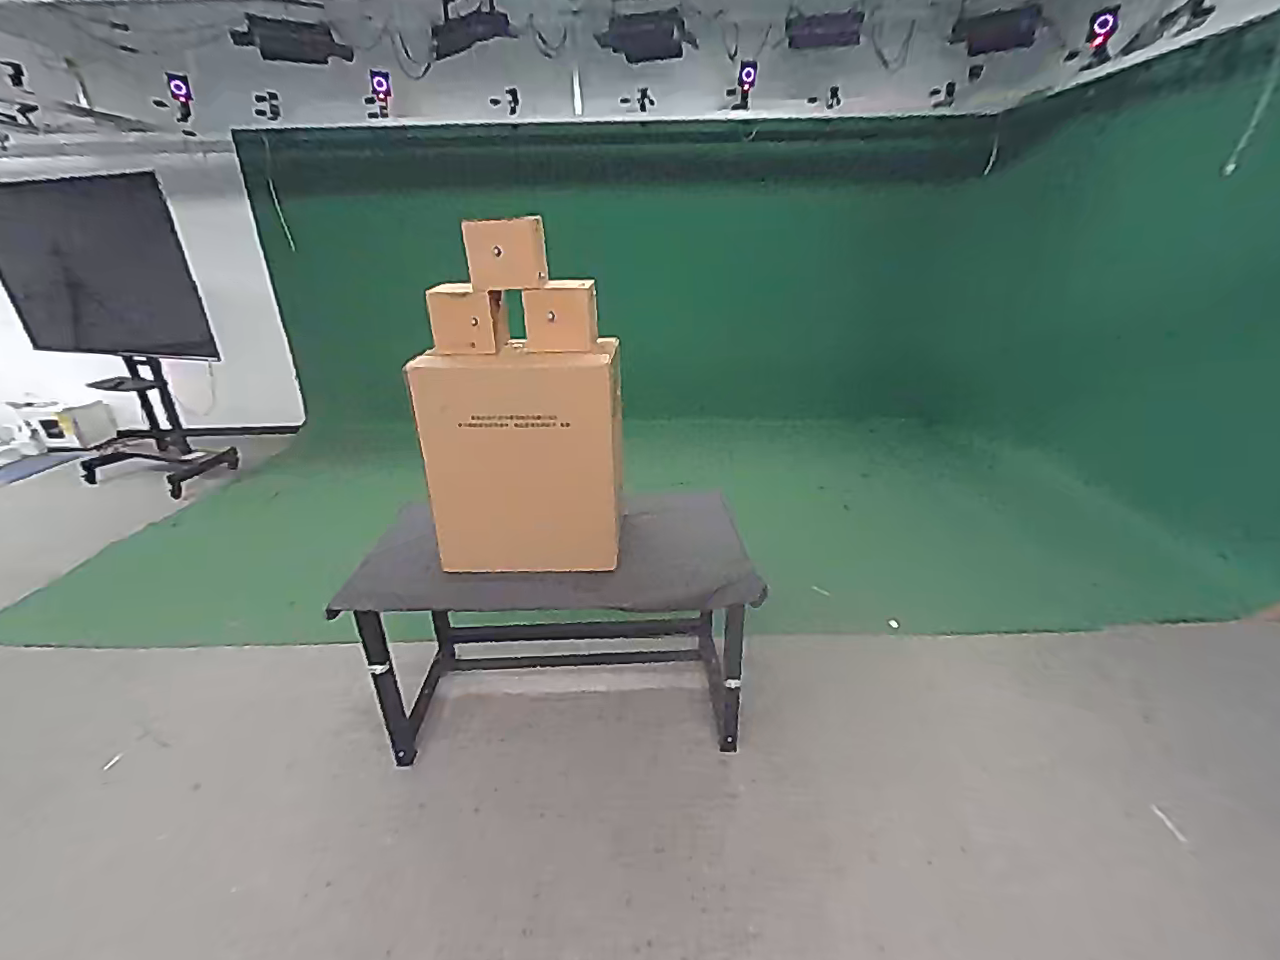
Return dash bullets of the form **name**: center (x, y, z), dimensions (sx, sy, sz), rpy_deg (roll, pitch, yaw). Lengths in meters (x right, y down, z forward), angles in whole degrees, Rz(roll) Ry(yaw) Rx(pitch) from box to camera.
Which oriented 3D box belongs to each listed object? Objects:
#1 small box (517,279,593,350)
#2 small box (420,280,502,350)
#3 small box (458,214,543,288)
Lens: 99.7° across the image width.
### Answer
- **small box**: center (-0.229, -0.460, 1.499), dimensions (0.179, 0.176, 0.168), rpy_deg (0, 26, 1)
- **small box**: center (-0.486, -0.458, 1.498), dimensions (0.168, 0.176, 0.179), rpy_deg (1, 24, -1)
- **small box**: center (-0.359, -0.608, 1.427), dimensions (0.179, 0.176, 0.168), rpy_deg (-2, 26, 0)
